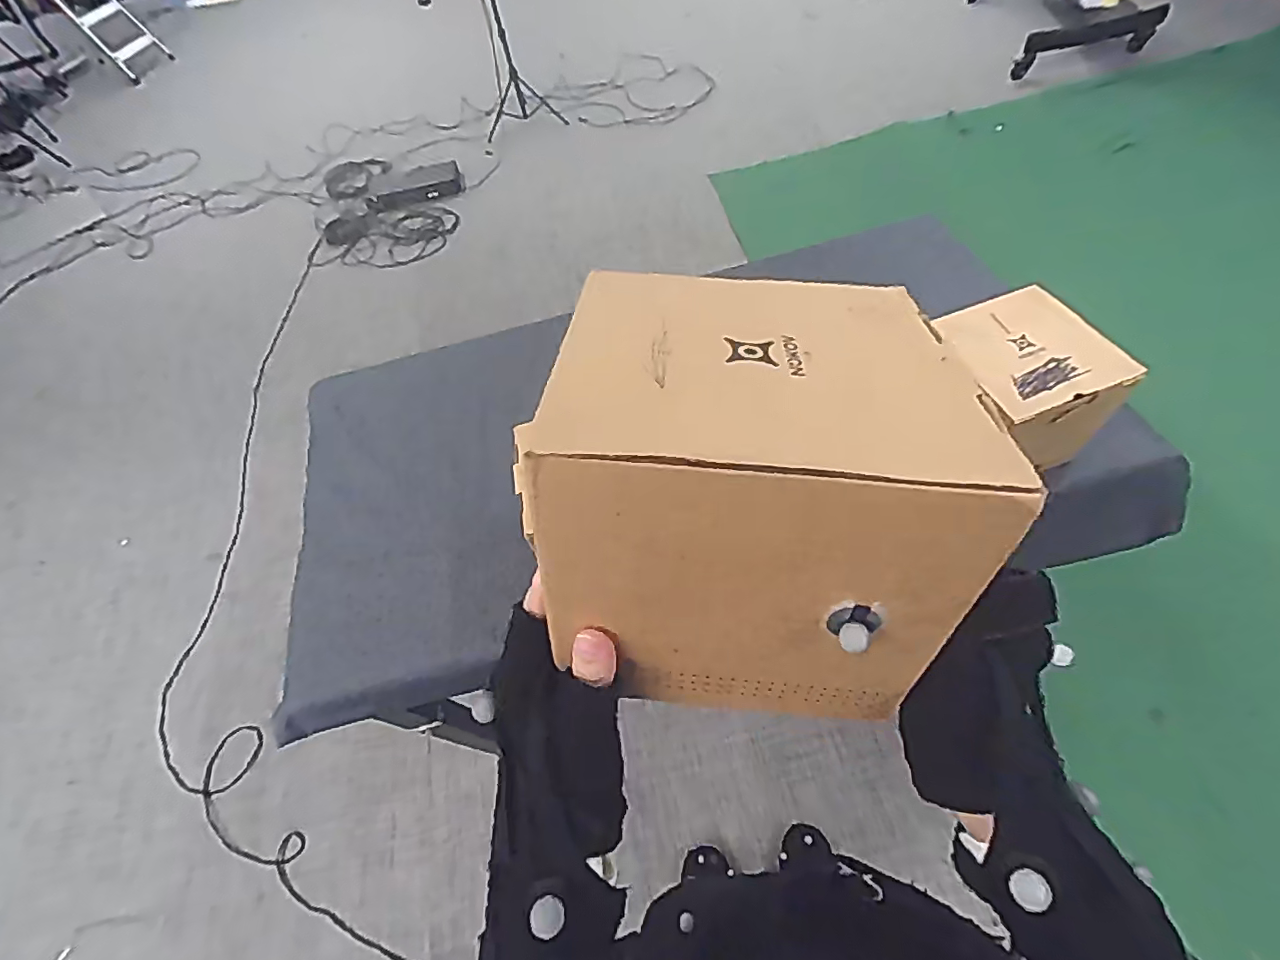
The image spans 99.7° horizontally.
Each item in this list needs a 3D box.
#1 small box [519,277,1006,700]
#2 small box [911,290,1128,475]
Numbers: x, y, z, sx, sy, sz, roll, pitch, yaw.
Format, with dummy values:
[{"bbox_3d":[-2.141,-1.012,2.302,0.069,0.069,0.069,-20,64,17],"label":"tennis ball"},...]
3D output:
[{"bbox_3d":[0.047,0.005,0.302,0.179,0.176,0.168,3,41,2],"label":"small box"},{"bbox_3d":[0.461,-0.110,0.715,0.168,0.176,0.179,-19,56,-3],"label":"small box"}]
